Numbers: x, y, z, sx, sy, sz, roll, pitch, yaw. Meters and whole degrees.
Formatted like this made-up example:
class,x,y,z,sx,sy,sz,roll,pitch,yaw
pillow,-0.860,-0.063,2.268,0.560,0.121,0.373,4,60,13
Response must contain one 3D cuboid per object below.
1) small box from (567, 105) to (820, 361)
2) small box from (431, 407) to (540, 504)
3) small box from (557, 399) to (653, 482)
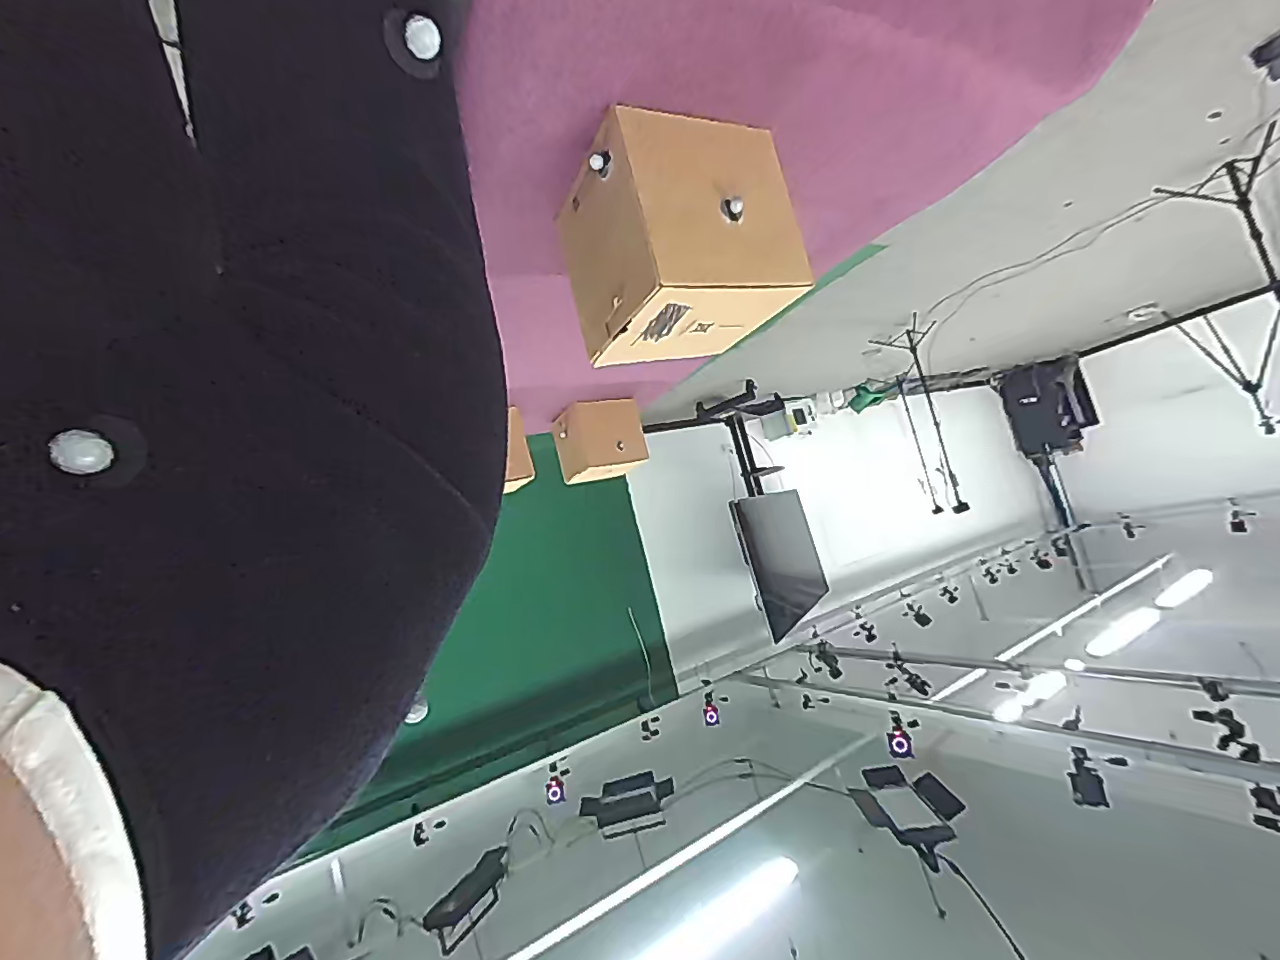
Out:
class,x,y,z,sx,sy,sz,roll,pitch,yaw
small box,0.041,-0.237,0.548,0.179,0.176,0.168,-12,174,-28
small box,-0.355,-0.058,1.229,0.179,0.176,0.168,-14,173,-31
small box,-0.095,-0.105,1.400,0.179,0.176,0.168,-9,170,-31
